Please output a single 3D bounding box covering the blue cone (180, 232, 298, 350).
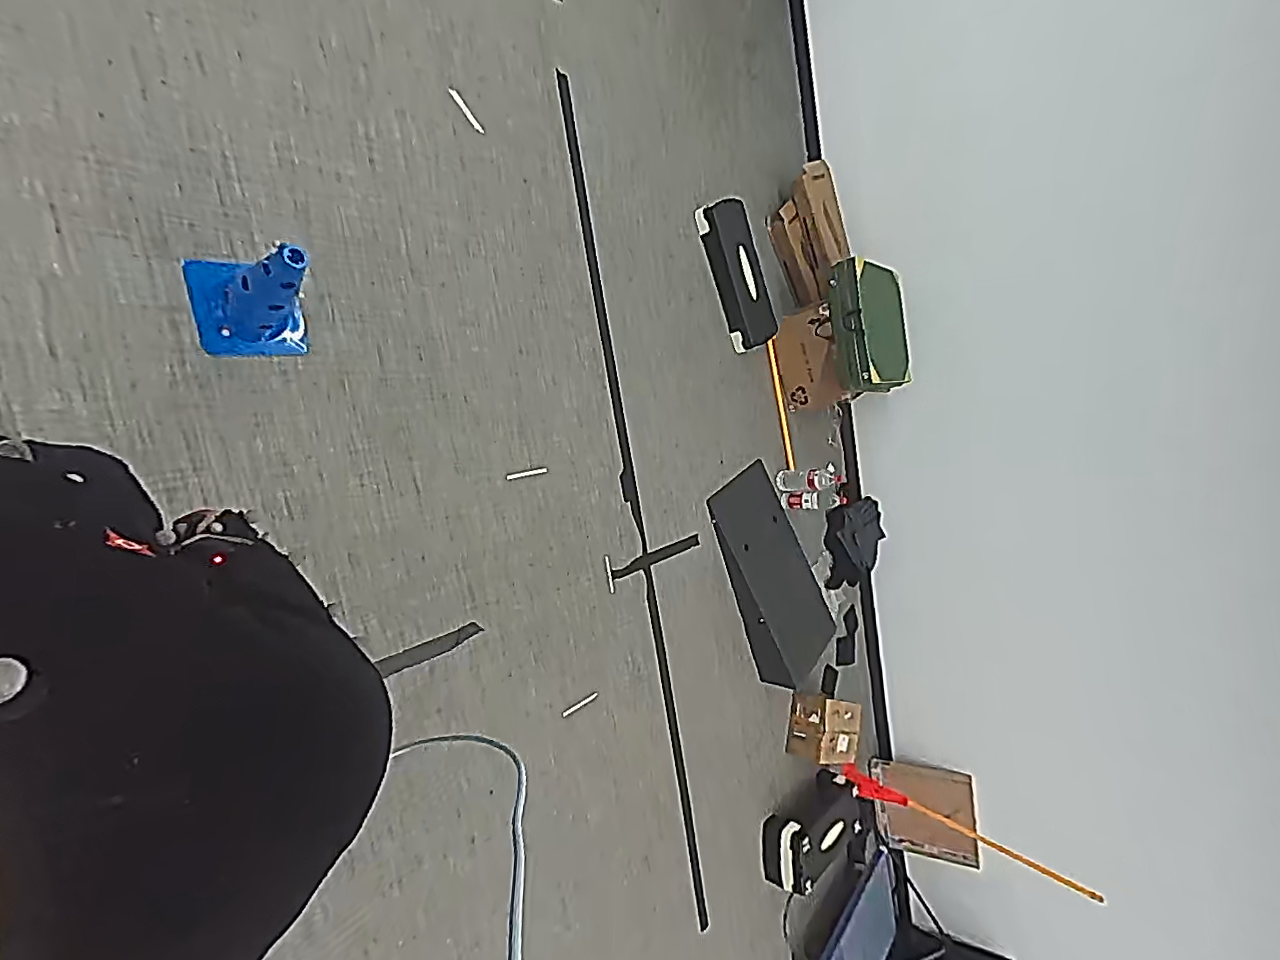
[{"bbox_3d":[-0.734,-0.385,1.050,0.193,0.380,0.192,-14,97,-46],"label":"blue cone"}]
